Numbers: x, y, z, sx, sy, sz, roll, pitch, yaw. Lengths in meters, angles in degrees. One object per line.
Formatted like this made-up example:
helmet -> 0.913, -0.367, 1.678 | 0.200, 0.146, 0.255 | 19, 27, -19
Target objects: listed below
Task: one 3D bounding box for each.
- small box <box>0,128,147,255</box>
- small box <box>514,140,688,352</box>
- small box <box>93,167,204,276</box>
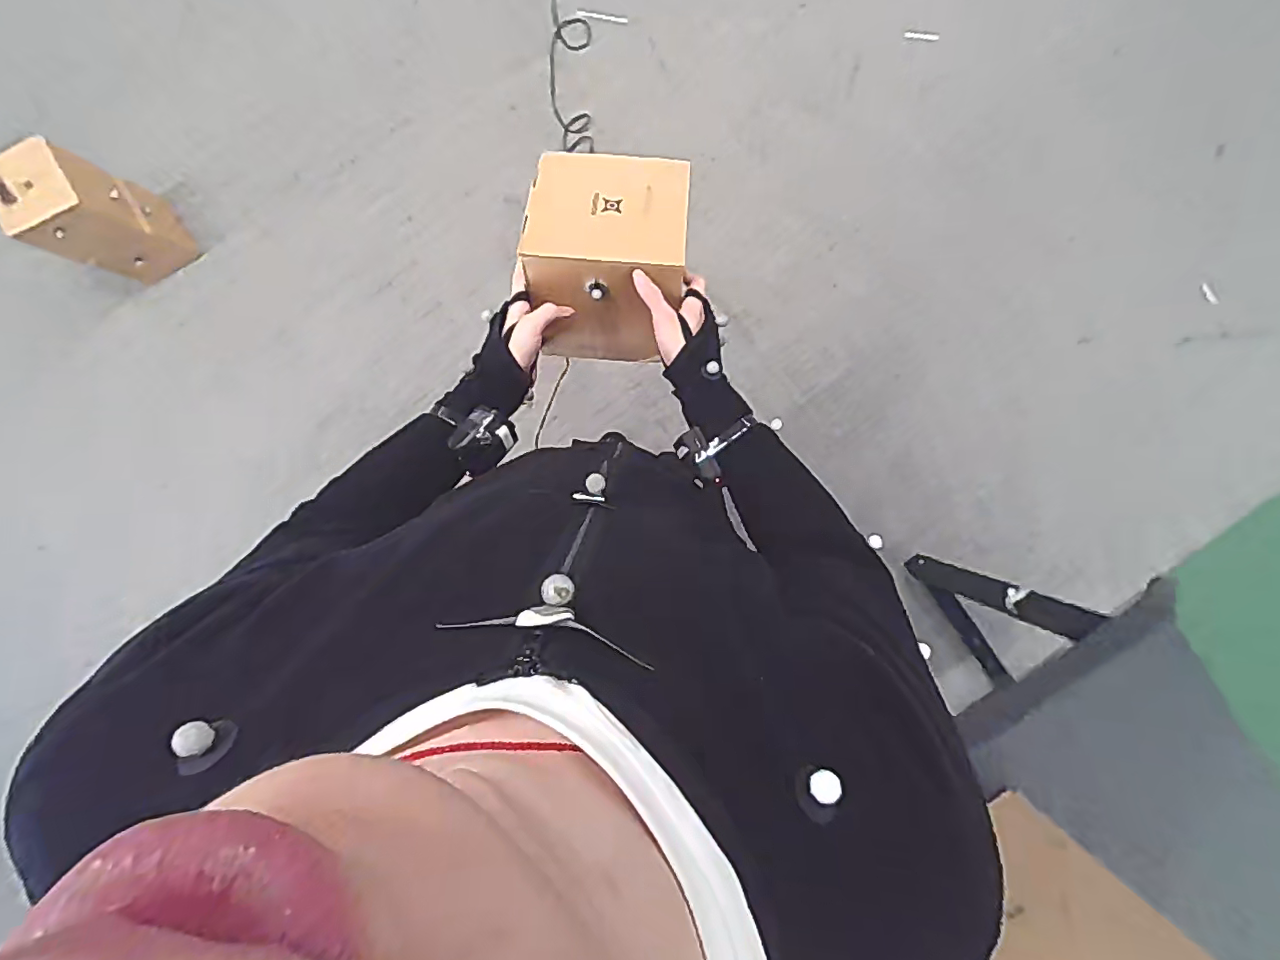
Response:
small box -> -1.319, -0.654, 1.250 | 0.179, 0.176, 0.168 | -27, 92, 0
small box -> -0.040, -0.273, 0.656 | 0.179, 0.176, 0.168 | 5, 66, -1
small box -> -1.312, -0.664, 1.415 | 0.179, 0.176, 0.168 | -28, 92, 1
